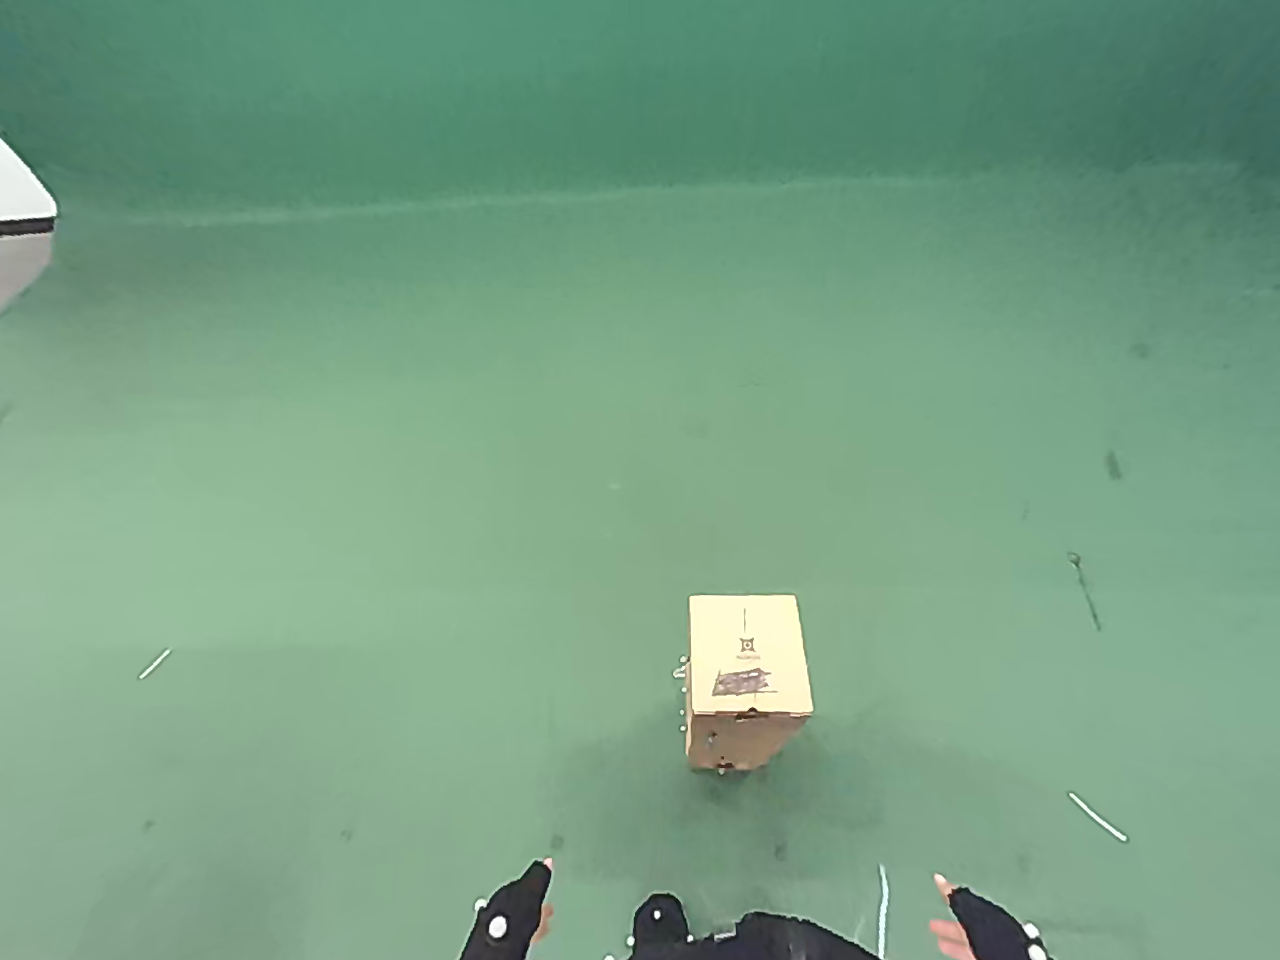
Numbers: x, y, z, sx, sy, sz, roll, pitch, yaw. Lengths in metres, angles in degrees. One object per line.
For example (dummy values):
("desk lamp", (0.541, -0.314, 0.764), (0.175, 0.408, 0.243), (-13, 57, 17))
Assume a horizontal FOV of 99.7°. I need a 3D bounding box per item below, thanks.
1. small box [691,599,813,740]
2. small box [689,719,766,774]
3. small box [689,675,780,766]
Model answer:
("small box", (0.165, 0.302, 0.854), (0.168, 0.176, 0.179), (-1, 54, 4))
("small box", (0.199, 0.574, 1.263), (0.168, 0.176, 0.179), (0, 55, 6))
("small box", (0.188, 0.486, 1.127), (0.168, 0.176, 0.179), (-1, 55, 3))
